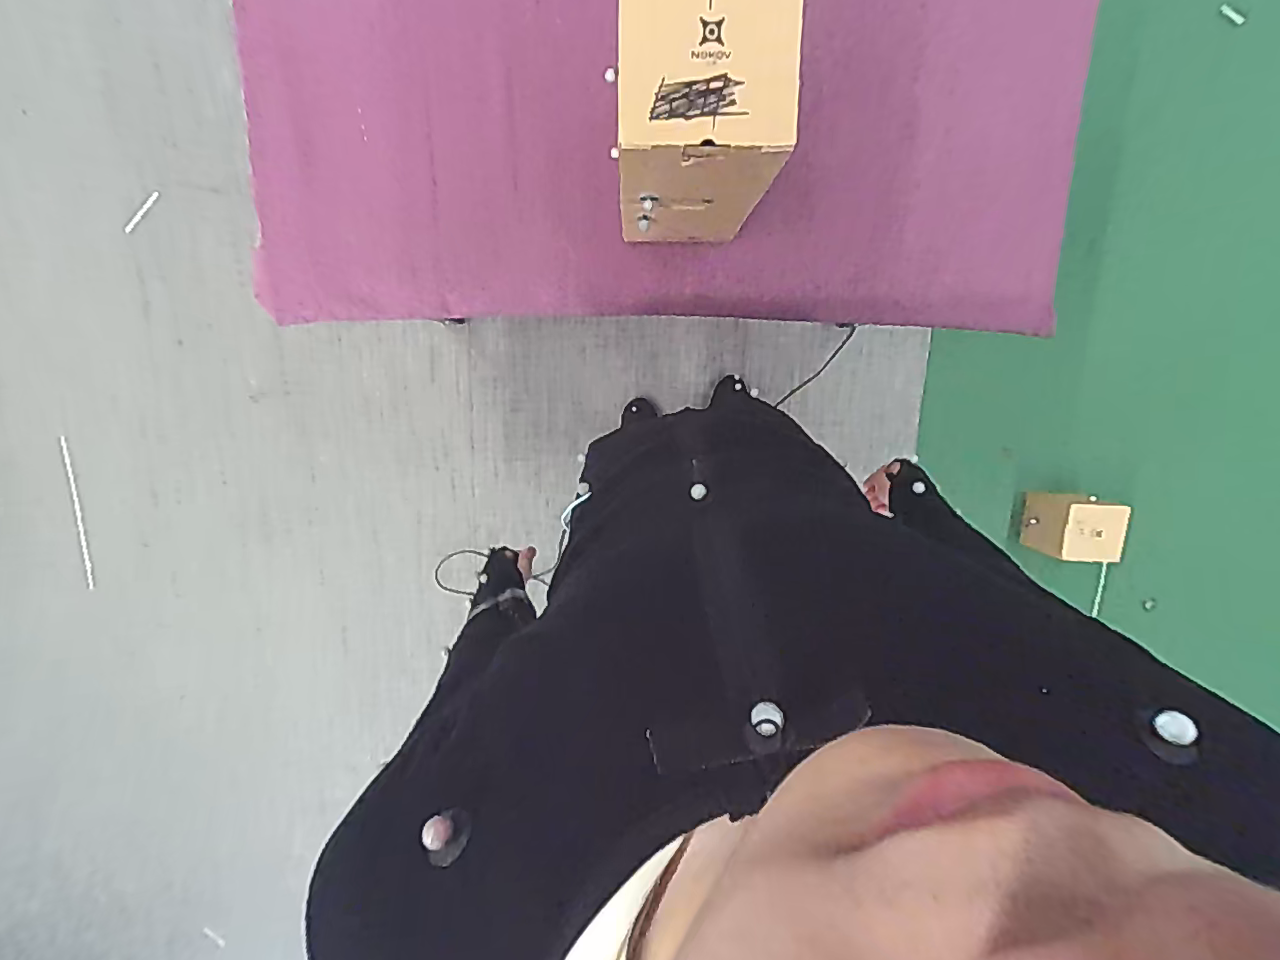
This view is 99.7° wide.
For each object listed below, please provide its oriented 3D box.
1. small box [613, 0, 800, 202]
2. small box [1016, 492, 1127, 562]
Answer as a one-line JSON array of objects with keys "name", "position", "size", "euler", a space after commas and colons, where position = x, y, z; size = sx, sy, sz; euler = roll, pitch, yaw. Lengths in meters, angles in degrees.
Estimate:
[{"name": "small box", "position": [0.059, -0.406, 0.562], "size": [0.168, 0.176, 0.179], "euler": [0, 99, -1]}, {"name": "small box", "position": [1.267, 0.134, 1.598], "size": [0.179, 0.176, 0.168], "euler": [3, 100, -2]}]
